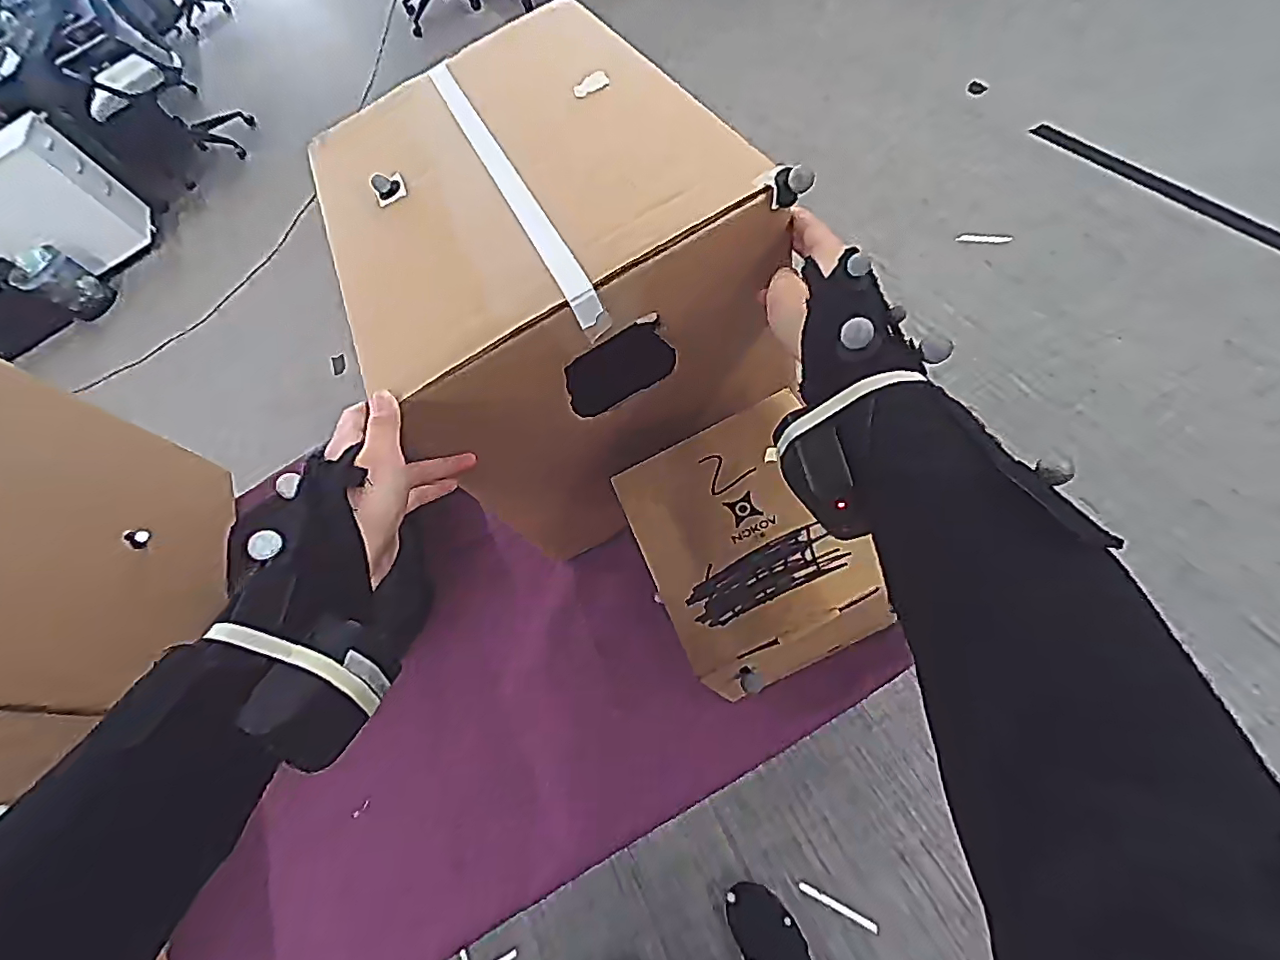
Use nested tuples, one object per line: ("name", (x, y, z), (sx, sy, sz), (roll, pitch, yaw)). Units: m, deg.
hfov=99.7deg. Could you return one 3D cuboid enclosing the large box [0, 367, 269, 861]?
("large box", (-0.695, 0.152, 0.603), (0.320, 0.320, 0.408), (-33, 61, -1))
